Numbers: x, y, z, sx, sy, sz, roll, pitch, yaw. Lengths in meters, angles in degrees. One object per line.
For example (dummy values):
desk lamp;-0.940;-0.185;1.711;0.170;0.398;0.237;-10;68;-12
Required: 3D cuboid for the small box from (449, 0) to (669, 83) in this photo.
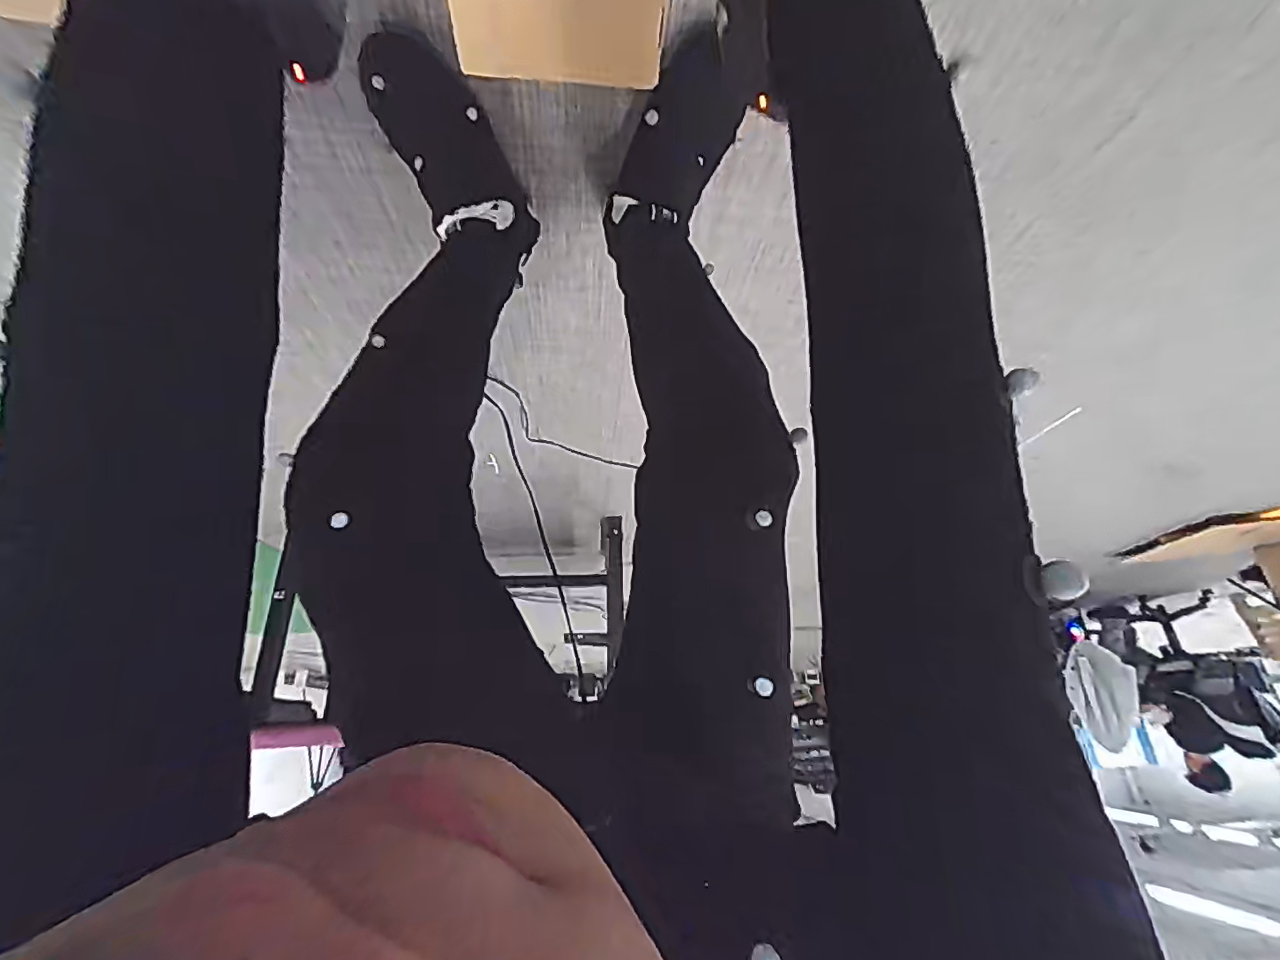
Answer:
small box;-0.064;-0.461;0.433;0.179;0.176;0.168;-1;156;-6
